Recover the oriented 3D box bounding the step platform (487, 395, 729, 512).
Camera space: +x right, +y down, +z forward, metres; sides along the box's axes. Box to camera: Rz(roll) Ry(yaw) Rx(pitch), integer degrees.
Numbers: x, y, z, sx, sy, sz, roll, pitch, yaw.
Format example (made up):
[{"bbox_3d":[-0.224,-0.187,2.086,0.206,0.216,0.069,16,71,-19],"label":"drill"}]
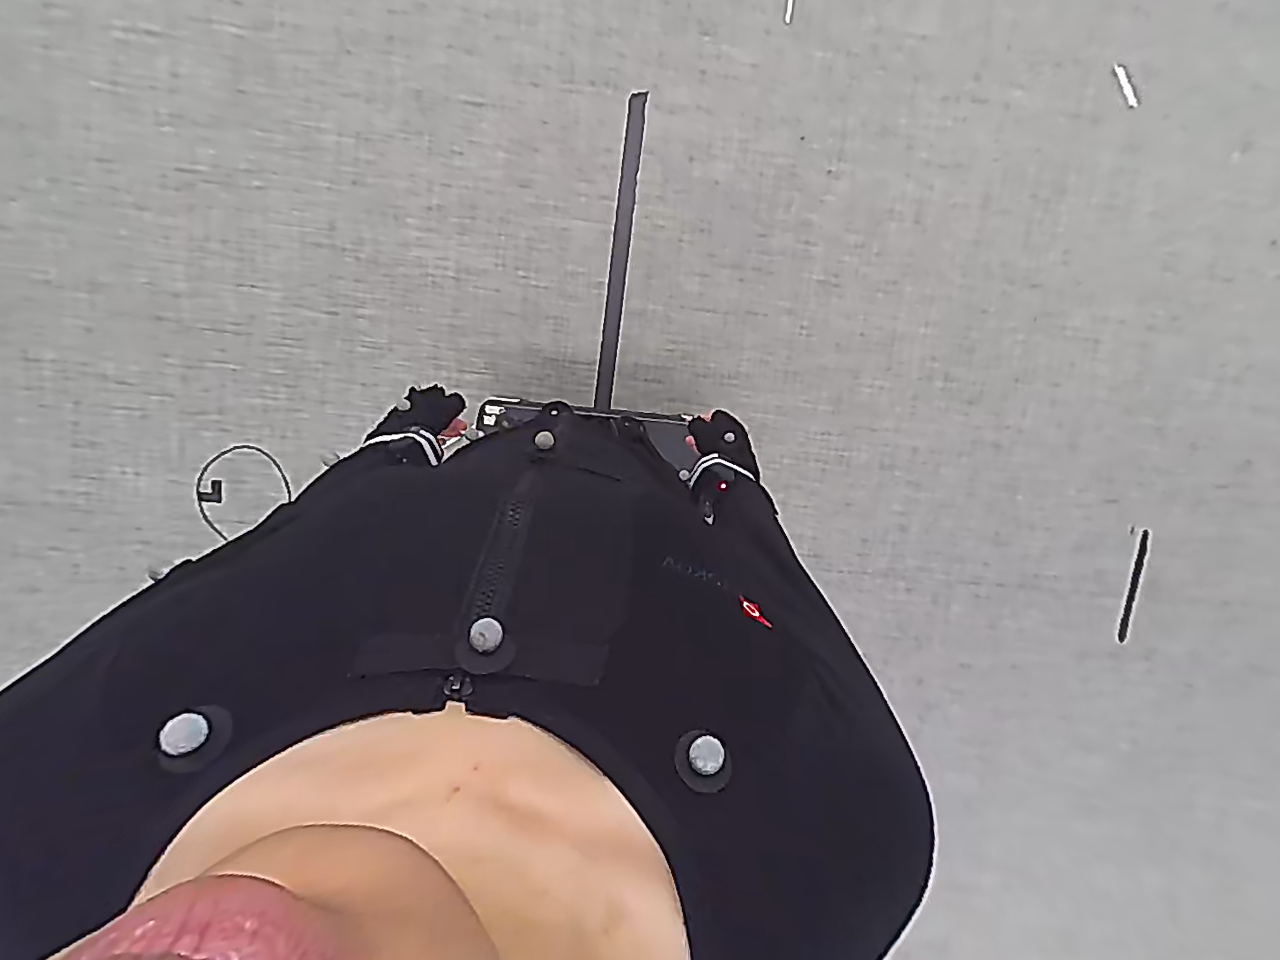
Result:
[{"bbox_3d":[-0.090,-0.077,1.563,0.684,0.204,0.286,4,99,-5],"label":"step platform"}]
